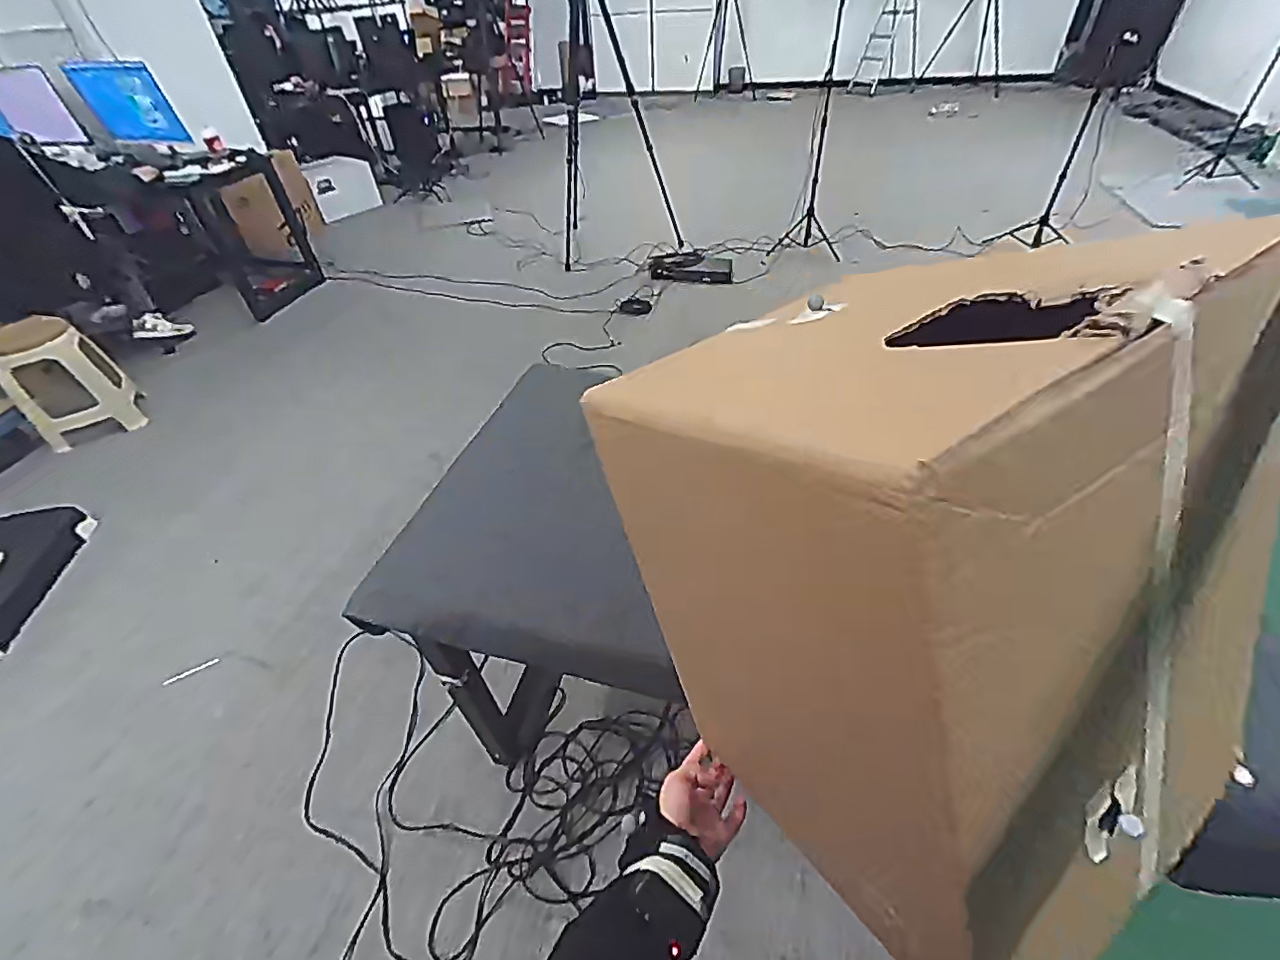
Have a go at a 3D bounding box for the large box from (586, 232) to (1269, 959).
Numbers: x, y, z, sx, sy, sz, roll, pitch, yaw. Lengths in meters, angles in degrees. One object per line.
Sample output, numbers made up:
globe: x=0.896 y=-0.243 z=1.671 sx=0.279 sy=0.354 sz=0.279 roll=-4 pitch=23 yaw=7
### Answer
large box: x=0.206 y=0.067 z=0.447 sx=0.320 sy=0.408 sz=0.320 roll=-28 pitch=25 yaw=-20
